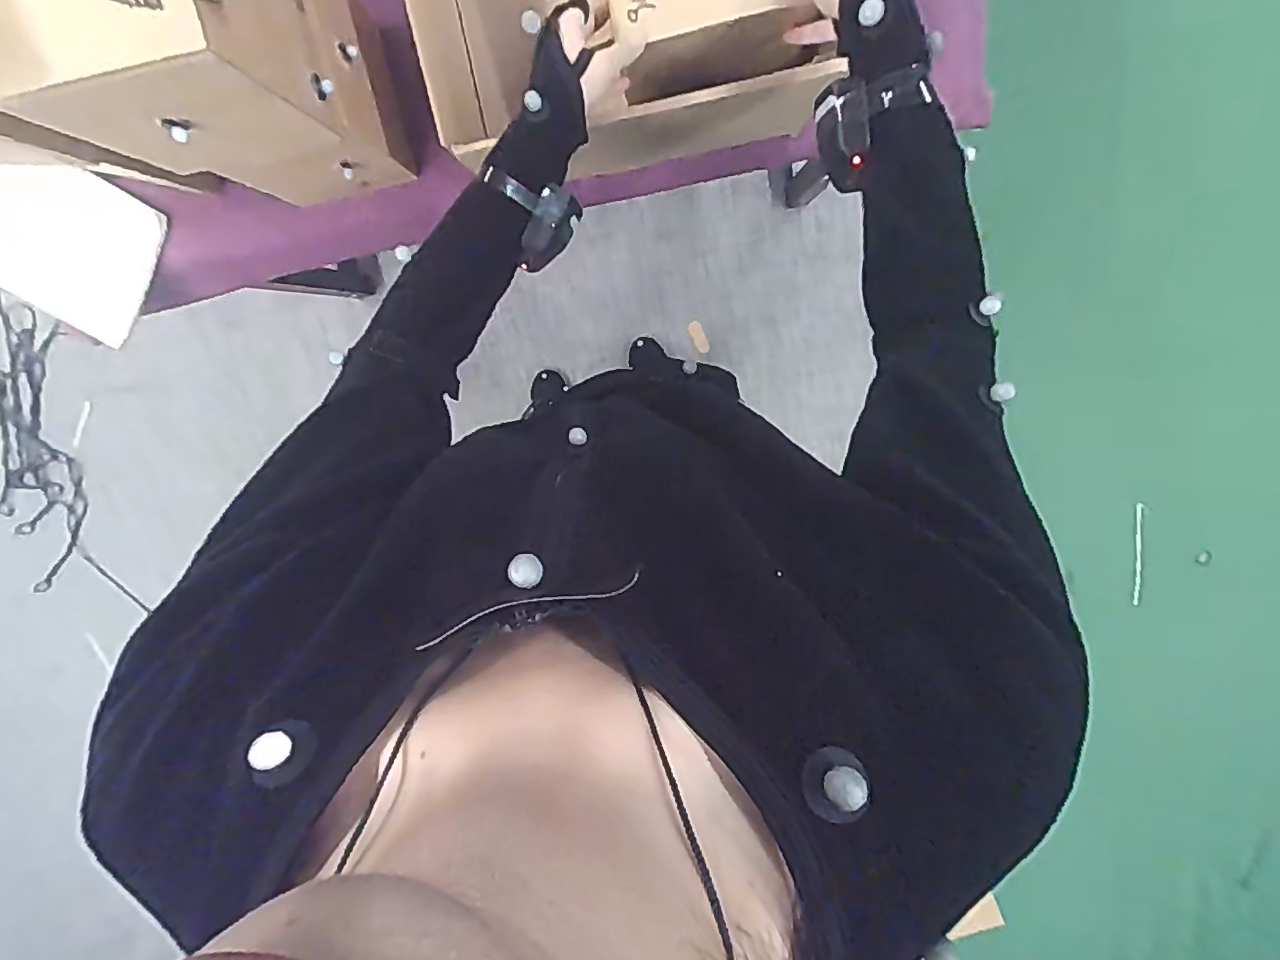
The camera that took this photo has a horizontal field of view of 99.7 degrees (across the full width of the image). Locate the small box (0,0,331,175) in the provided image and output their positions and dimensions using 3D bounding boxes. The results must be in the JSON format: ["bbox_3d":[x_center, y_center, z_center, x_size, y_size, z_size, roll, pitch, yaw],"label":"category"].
[{"bbox_3d":[-0.384,-0.372,0.434,0.179,0.176,0.168,-11,103,4],"label":"small box"}]
